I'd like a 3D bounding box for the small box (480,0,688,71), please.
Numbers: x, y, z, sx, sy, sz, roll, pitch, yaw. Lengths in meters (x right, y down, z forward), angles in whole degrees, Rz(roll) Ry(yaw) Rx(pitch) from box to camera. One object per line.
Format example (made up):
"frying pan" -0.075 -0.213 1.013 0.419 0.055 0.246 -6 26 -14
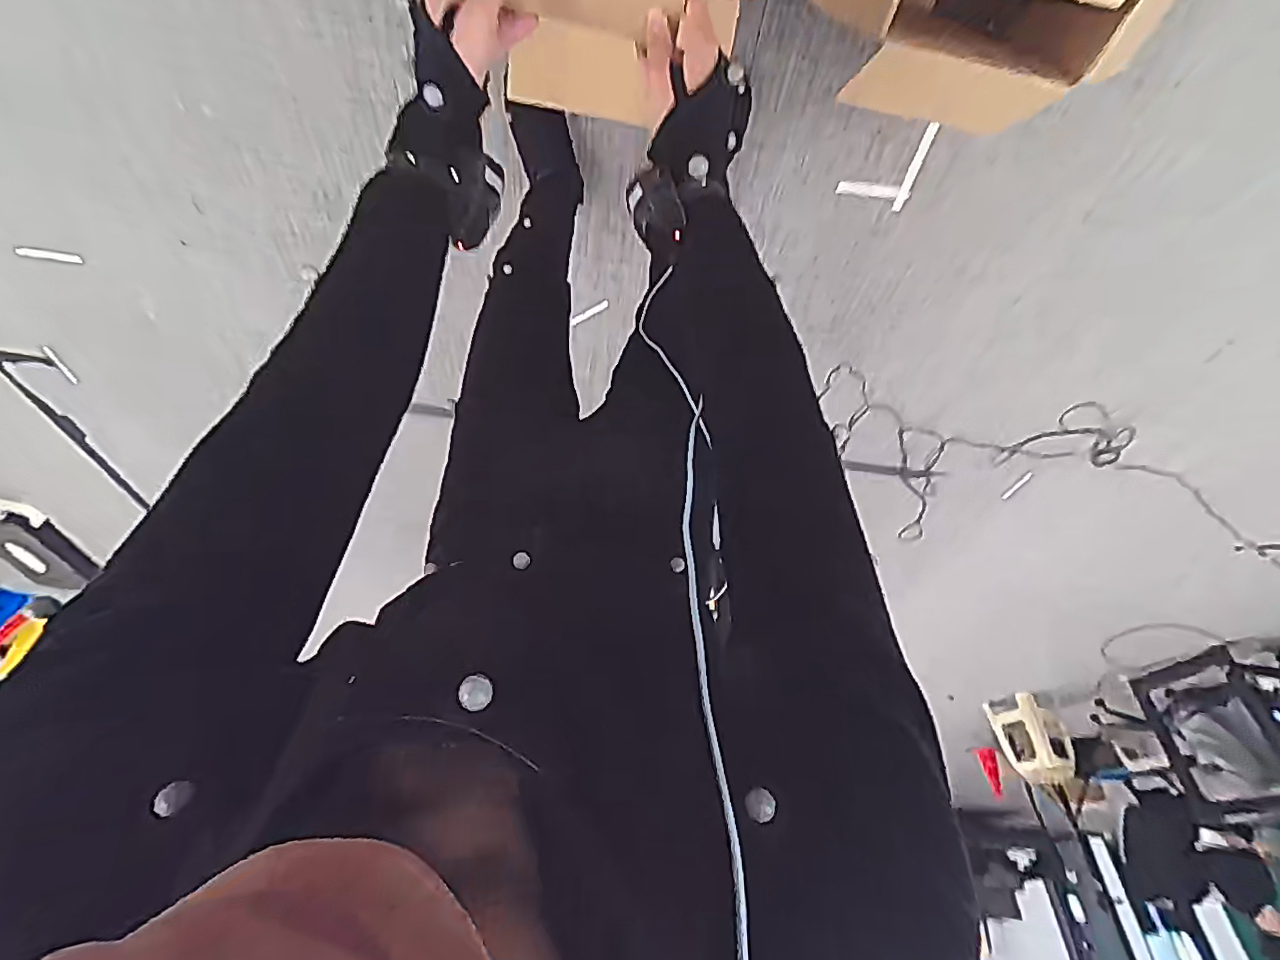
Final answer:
"small box" -0.025 -0.475 0.426 0.168 0.176 0.179 10 144 -8
